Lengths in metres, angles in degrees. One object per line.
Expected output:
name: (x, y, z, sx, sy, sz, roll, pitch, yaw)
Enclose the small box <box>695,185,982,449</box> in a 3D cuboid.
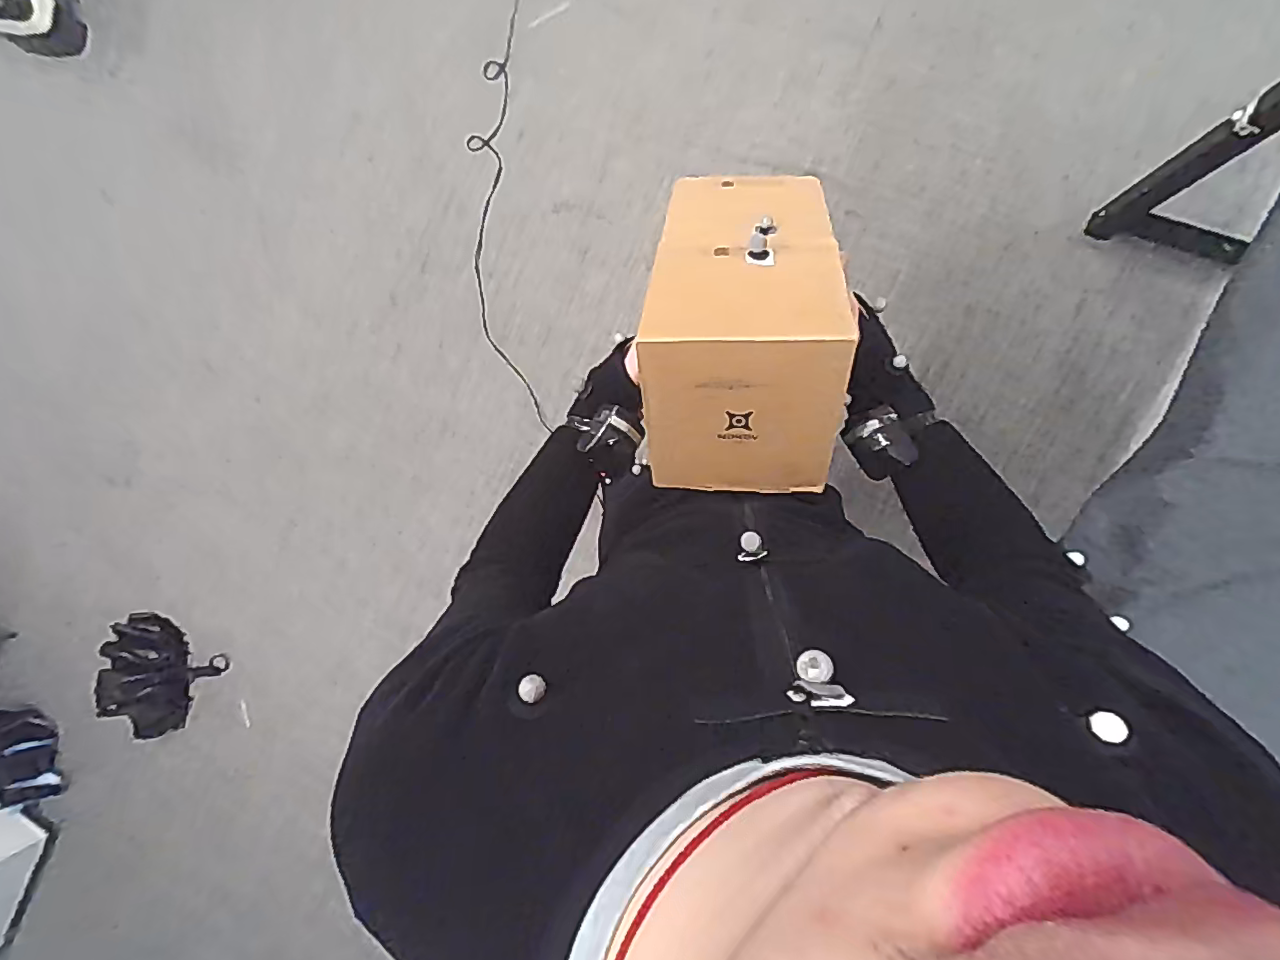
small box: (0.181, -0.161, 0.533, 0.179, 0.168, 0.176, 15, 122, -19)
